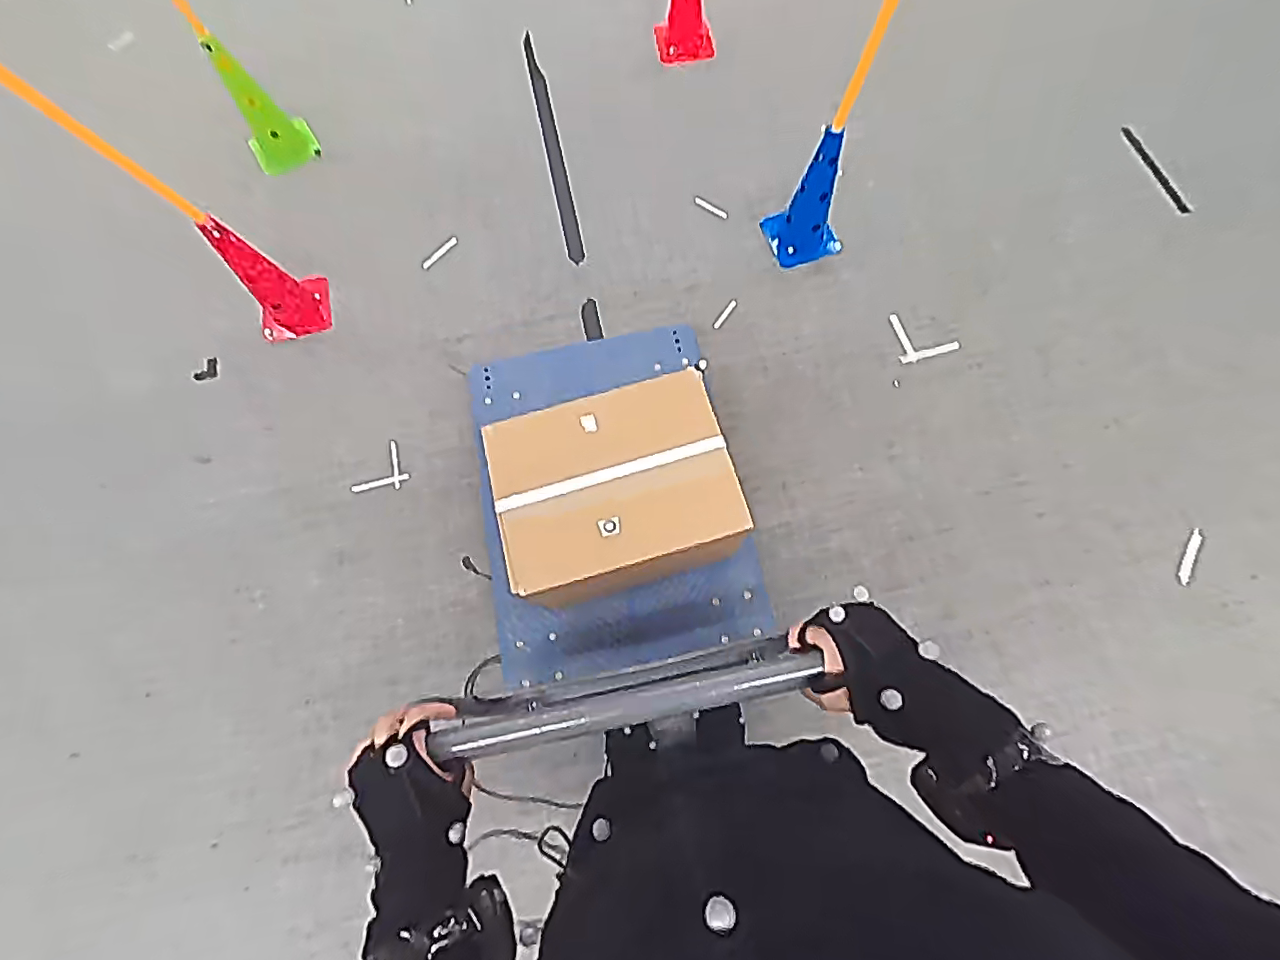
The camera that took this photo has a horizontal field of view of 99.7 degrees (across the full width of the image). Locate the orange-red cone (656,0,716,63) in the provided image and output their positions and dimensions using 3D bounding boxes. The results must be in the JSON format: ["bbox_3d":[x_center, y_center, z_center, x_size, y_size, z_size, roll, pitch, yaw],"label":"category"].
[{"bbox_3d":[0.160,-1.616,1.766,0.199,0.360,0.198,-6,72,-1],"label":"orange-red cone"}]

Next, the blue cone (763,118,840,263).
[{"bbox_3d":[0.486,-0.807,1.503,0.193,0.380,0.192,-17,71,-4],"label":"blue cone"}]
